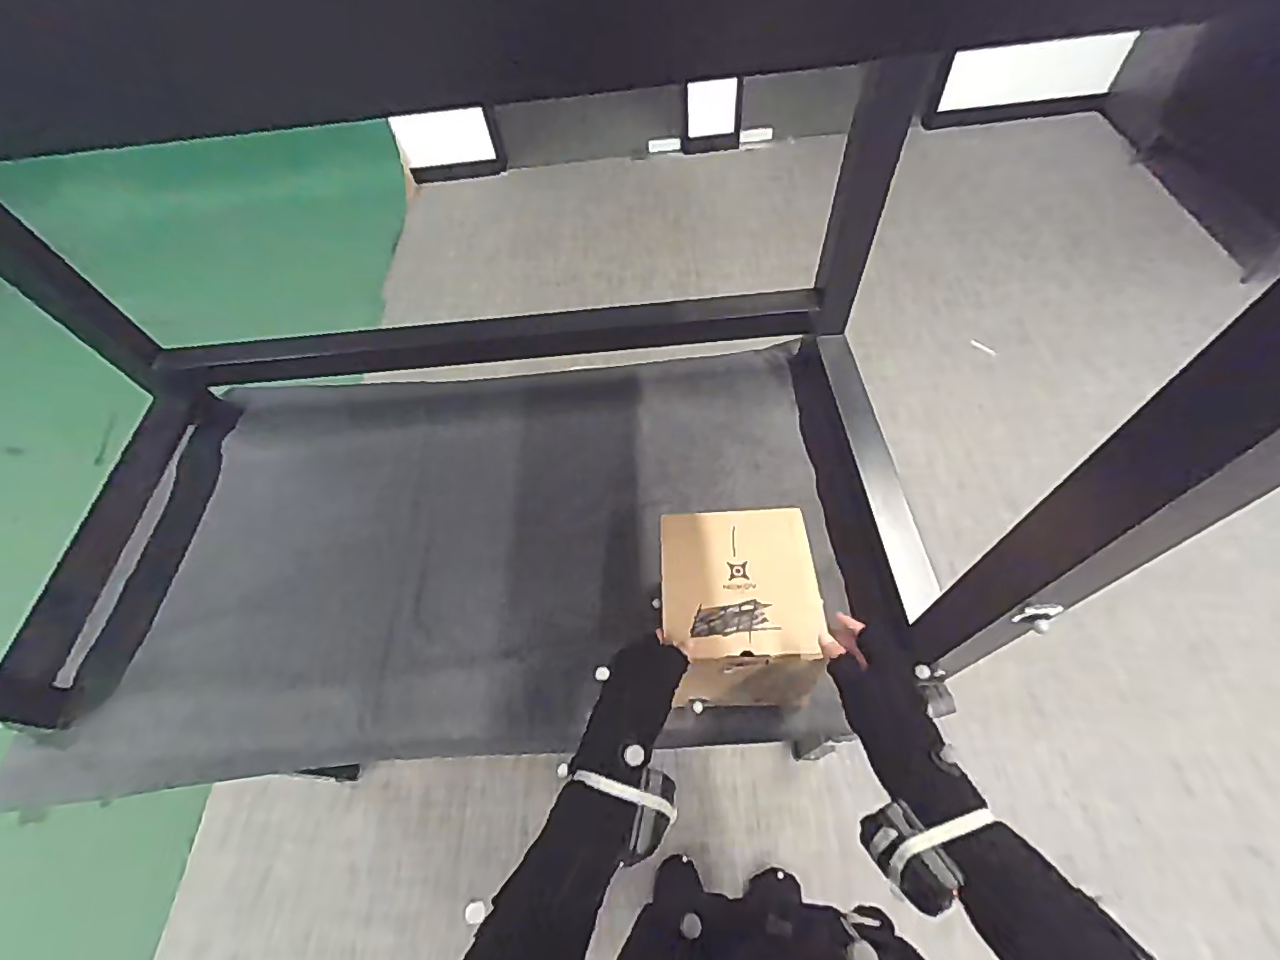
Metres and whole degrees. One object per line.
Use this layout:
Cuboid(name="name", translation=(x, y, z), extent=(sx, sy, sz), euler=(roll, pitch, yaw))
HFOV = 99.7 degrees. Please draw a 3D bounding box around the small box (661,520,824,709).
Cuboid(name="small box", translation=(0.114, 0.168, 0.653), extent=(0.168, 0.176, 0.179), euler=(-3, 51, 5))
